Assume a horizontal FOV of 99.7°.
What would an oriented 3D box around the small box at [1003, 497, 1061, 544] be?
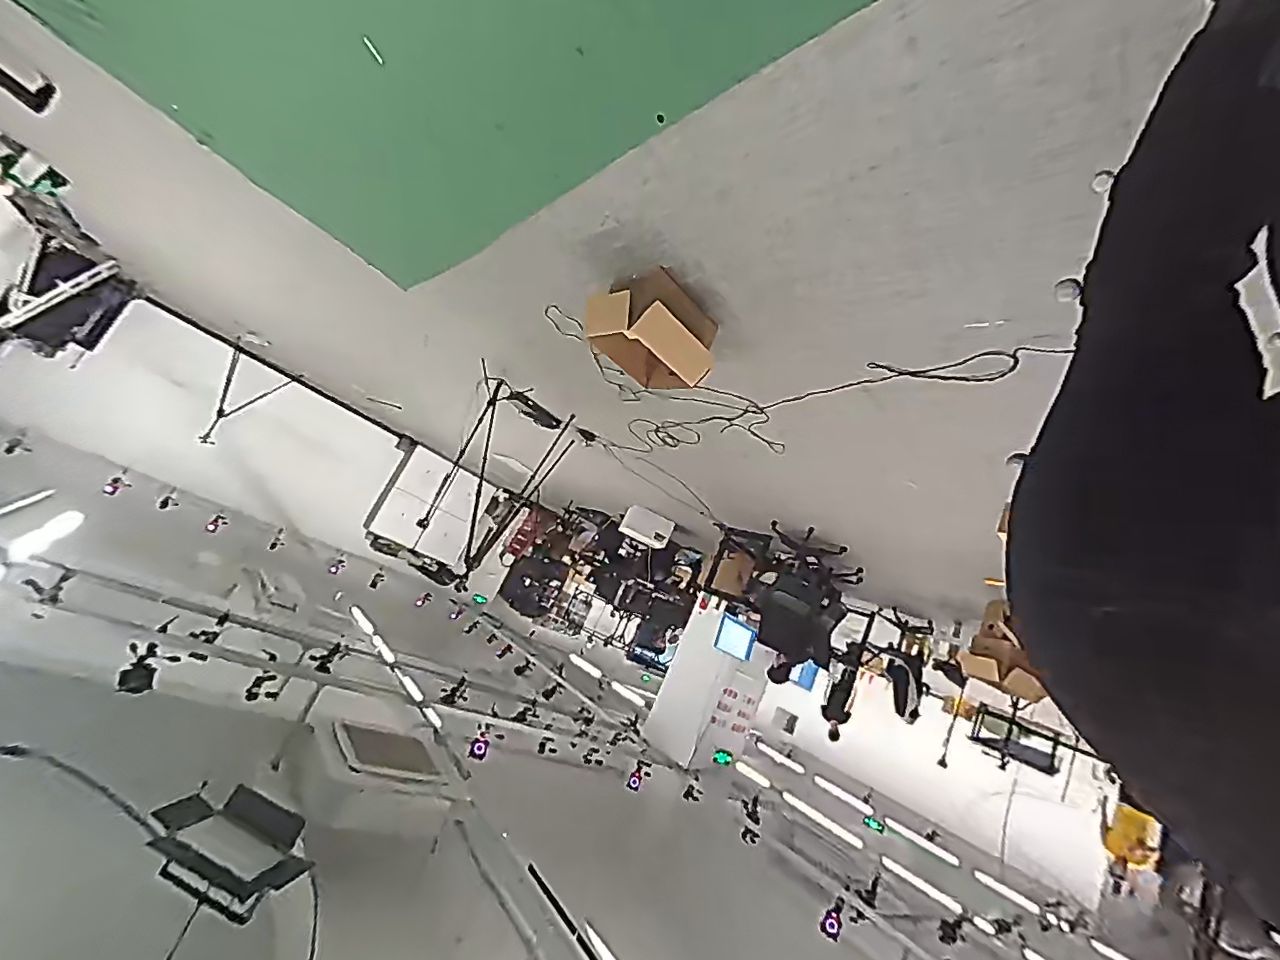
[{"bbox_3d":[1.906,0.192,2.627,0.168,0.176,0.179,34,163,-34],"label":"small box"}]
